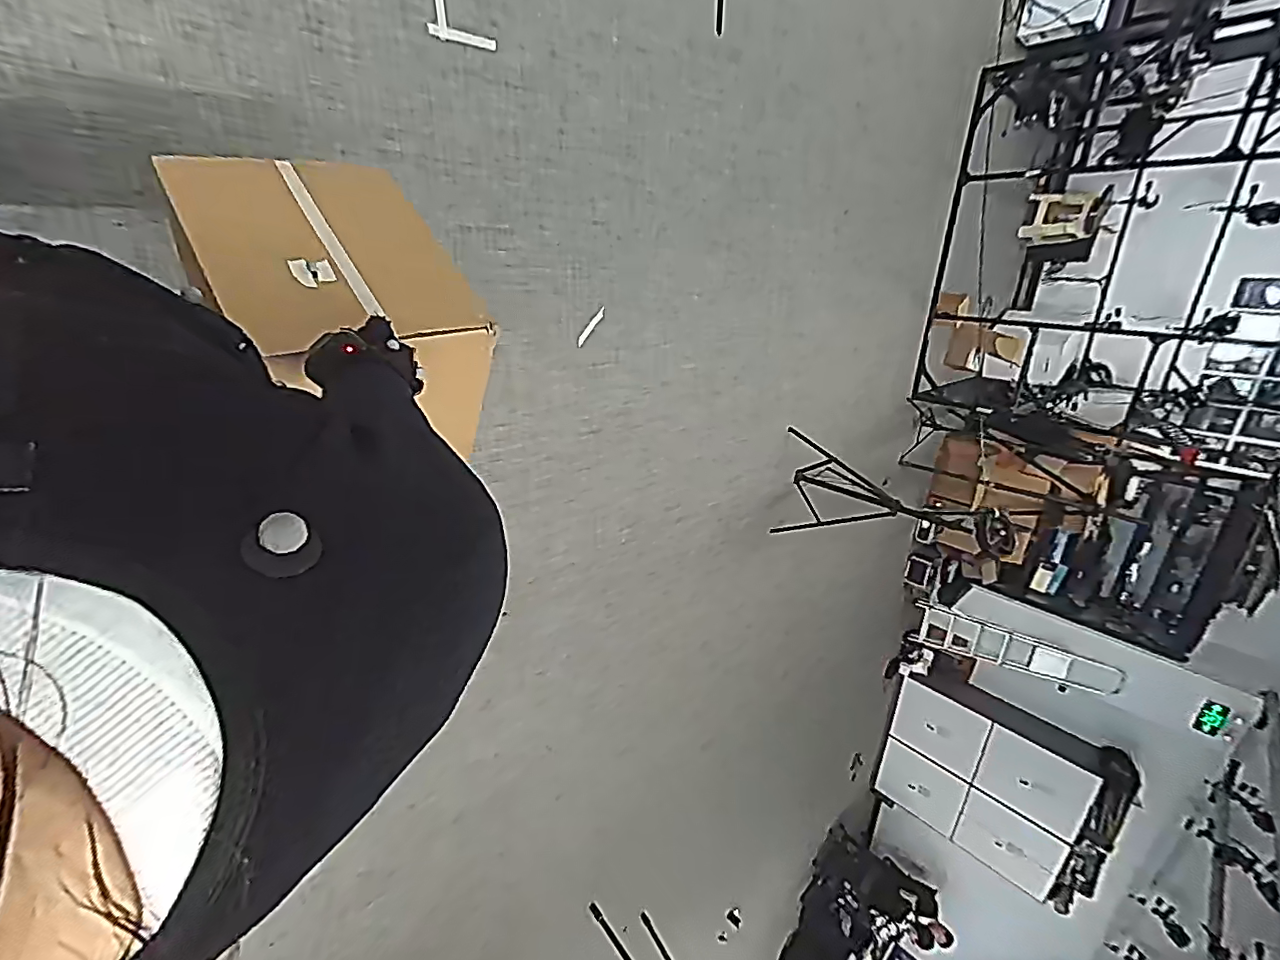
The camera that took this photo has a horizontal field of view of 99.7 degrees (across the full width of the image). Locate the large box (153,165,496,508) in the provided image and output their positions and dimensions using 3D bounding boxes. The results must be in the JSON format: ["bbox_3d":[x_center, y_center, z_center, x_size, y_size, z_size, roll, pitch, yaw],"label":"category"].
[{"bbox_3d":[-0.491,-0.232,0.870,0.320,0.408,0.320,-22,157,-37],"label":"large box"}]
